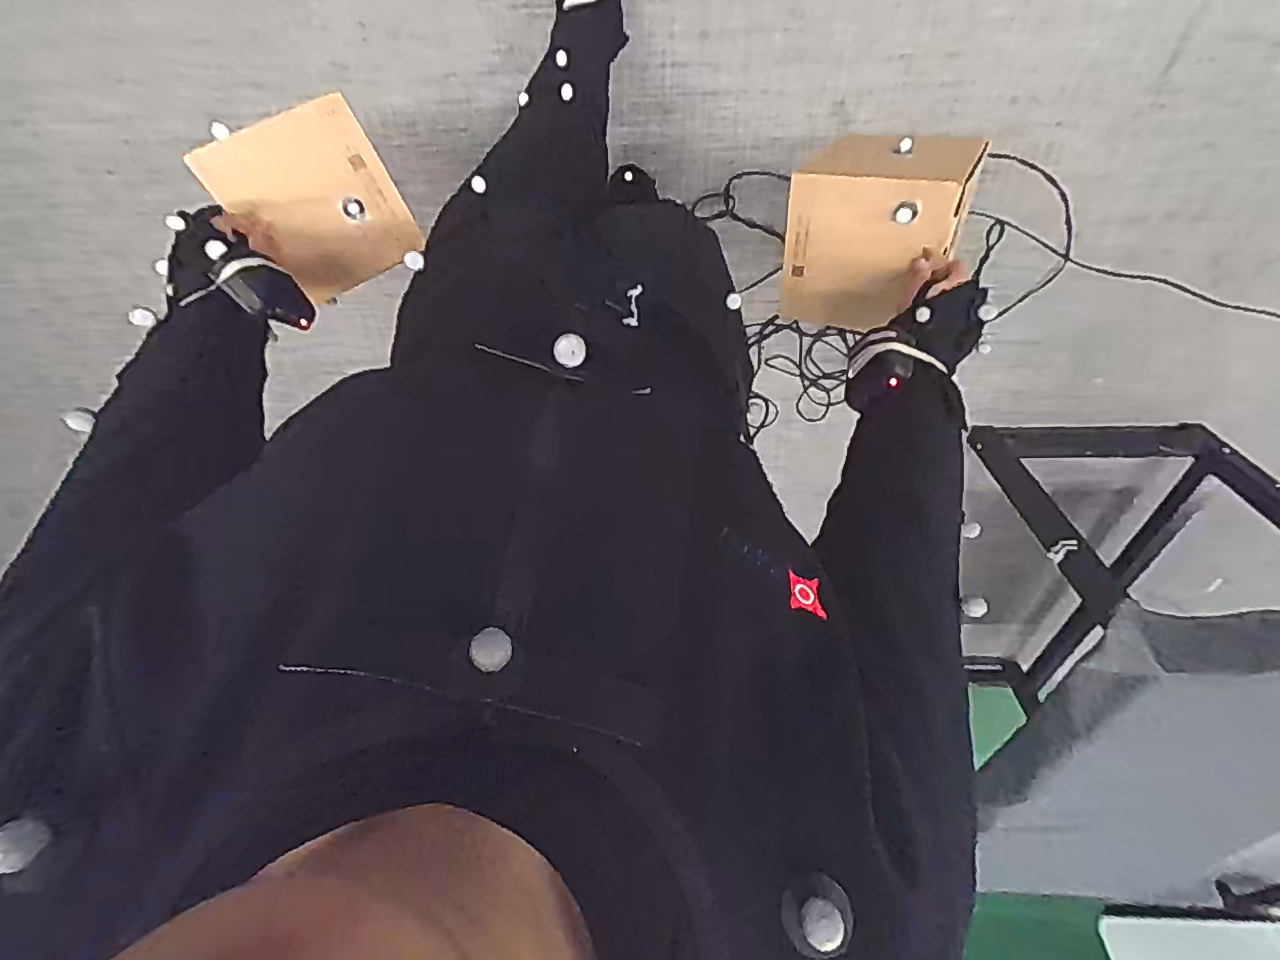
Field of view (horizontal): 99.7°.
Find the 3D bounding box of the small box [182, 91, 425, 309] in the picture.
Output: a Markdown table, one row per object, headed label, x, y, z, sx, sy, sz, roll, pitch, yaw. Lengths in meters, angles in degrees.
| label | x | y | z | sx | sy | sz | roll | pitch | yaw |
| --- | --- | --- | --- | --- | --- | --- | --- | --- | --- |
| small box | -0.380 | -0.330 | 0.641 | 0.176 | 0.179 | 0.168 | -33 | 129 | -12 |
